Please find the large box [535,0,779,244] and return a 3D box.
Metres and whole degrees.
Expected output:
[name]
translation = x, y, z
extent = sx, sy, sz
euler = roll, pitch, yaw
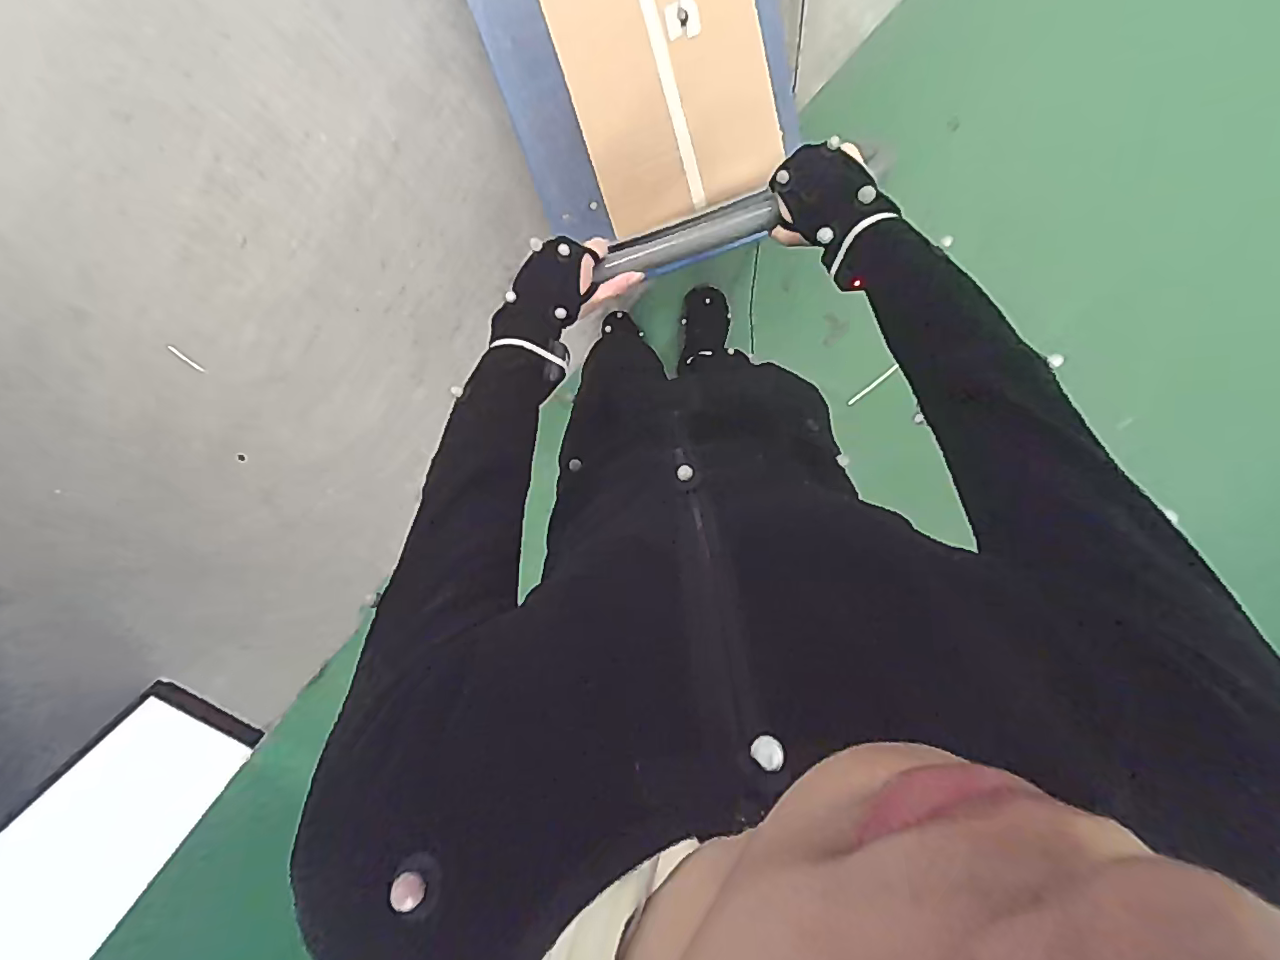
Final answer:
[large box]
translation = 0.048, -0.708, 1.030
extent = 0.320, 0.320, 0.408
euler = -15, 112, 11
